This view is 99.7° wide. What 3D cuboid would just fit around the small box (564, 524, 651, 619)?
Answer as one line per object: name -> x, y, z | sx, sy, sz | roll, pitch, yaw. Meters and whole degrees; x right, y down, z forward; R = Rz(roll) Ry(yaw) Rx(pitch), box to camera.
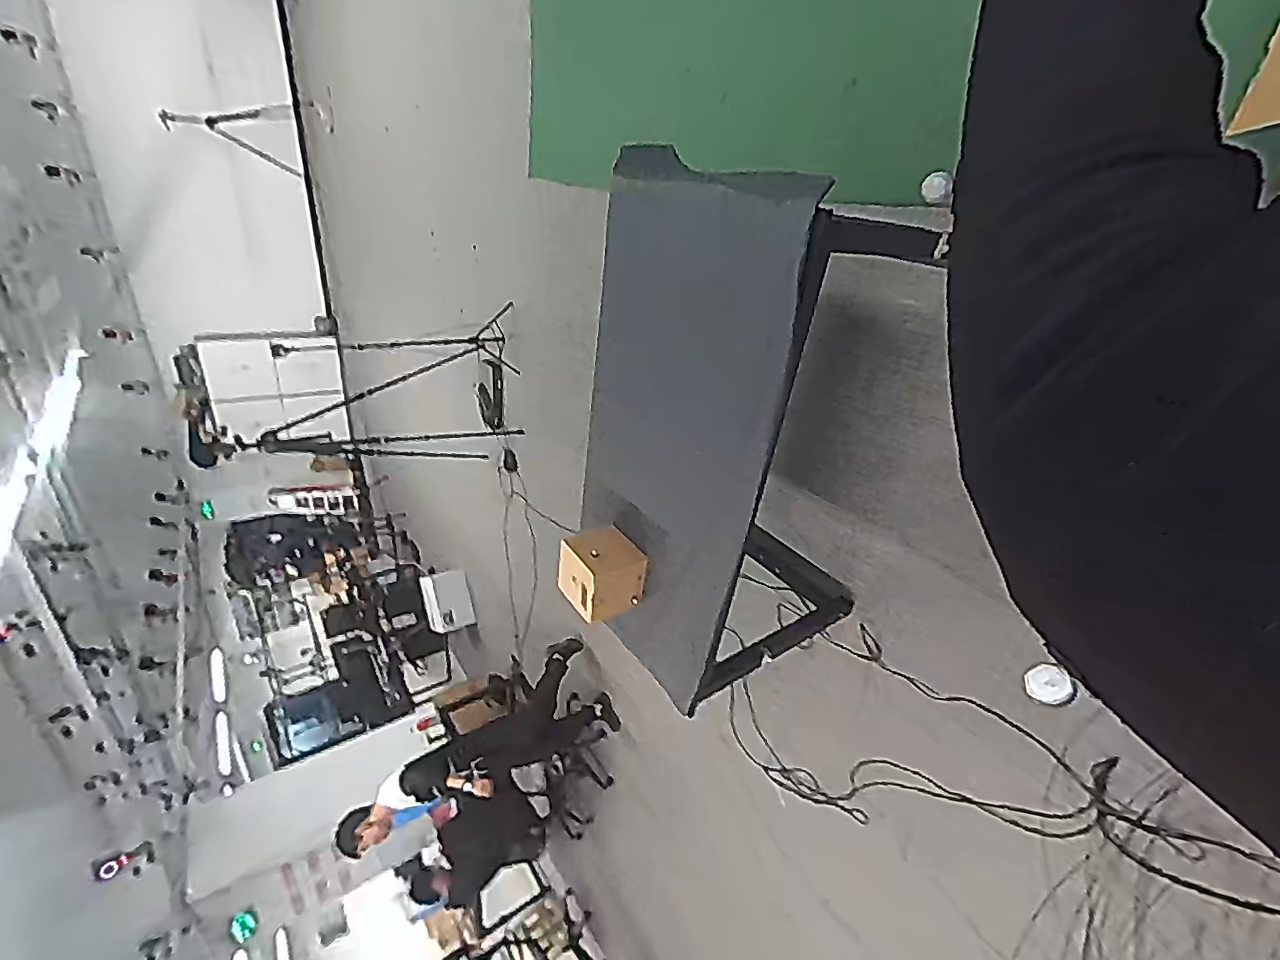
small box -> -0.089, 0.240, 1.472 | 0.179, 0.176, 0.168 | 39, 131, 43
